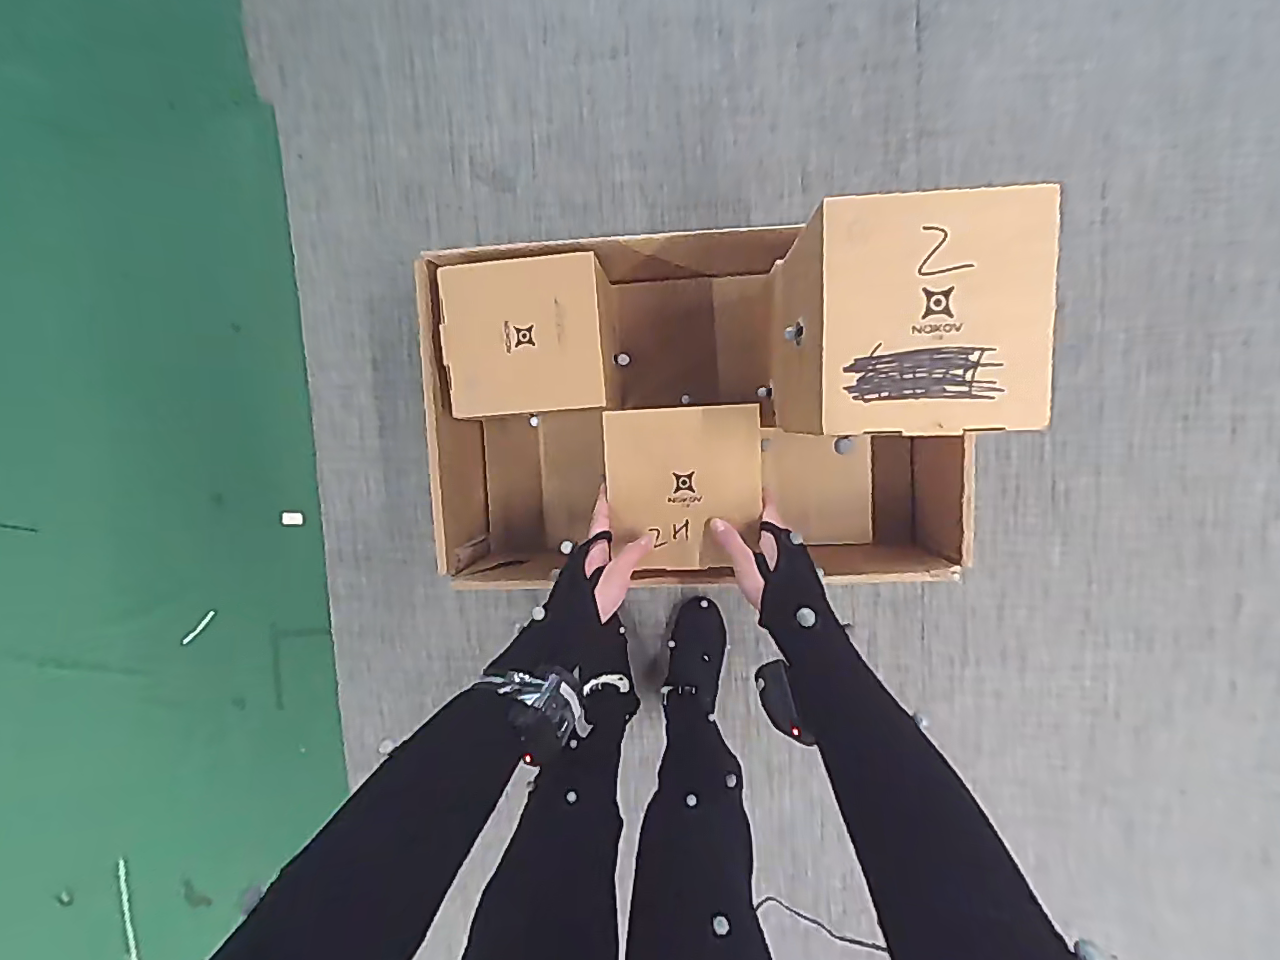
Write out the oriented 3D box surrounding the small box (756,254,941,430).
[{"bbox_3d":[0.230,-0.149,0.639,0.168,0.176,0.179,-1,96,5],"label":"small box"}]
